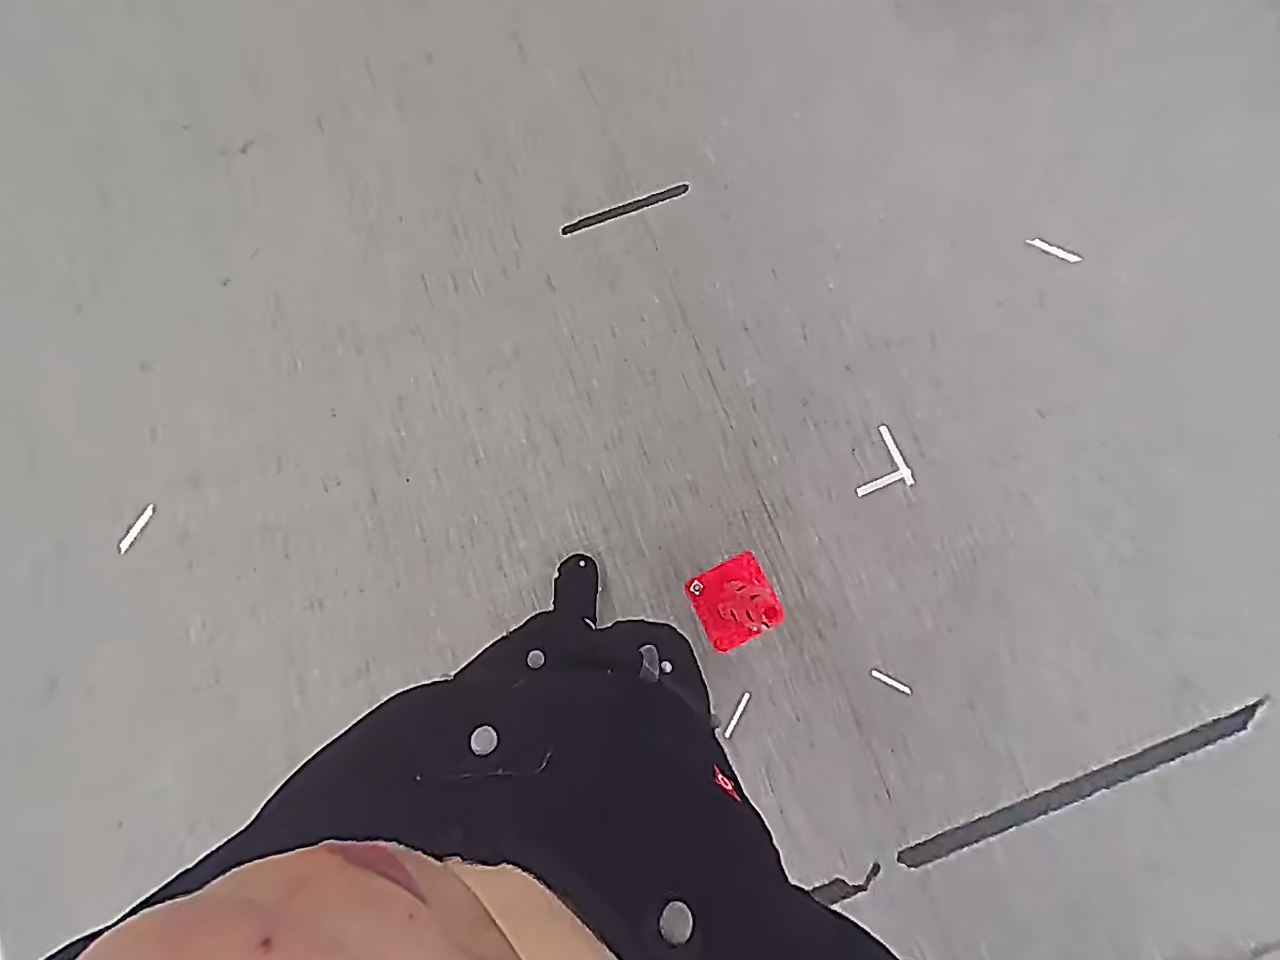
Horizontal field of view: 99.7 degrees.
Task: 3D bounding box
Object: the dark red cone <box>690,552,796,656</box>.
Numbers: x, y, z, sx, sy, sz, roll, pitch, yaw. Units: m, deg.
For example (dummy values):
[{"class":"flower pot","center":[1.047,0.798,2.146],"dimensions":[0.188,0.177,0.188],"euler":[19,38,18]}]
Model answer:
[{"class":"dark red cone","center":[0.251,0.279,1.160],"dimensions":[0.202,0.394,0.201],"euler":[-28,84,-5]}]
